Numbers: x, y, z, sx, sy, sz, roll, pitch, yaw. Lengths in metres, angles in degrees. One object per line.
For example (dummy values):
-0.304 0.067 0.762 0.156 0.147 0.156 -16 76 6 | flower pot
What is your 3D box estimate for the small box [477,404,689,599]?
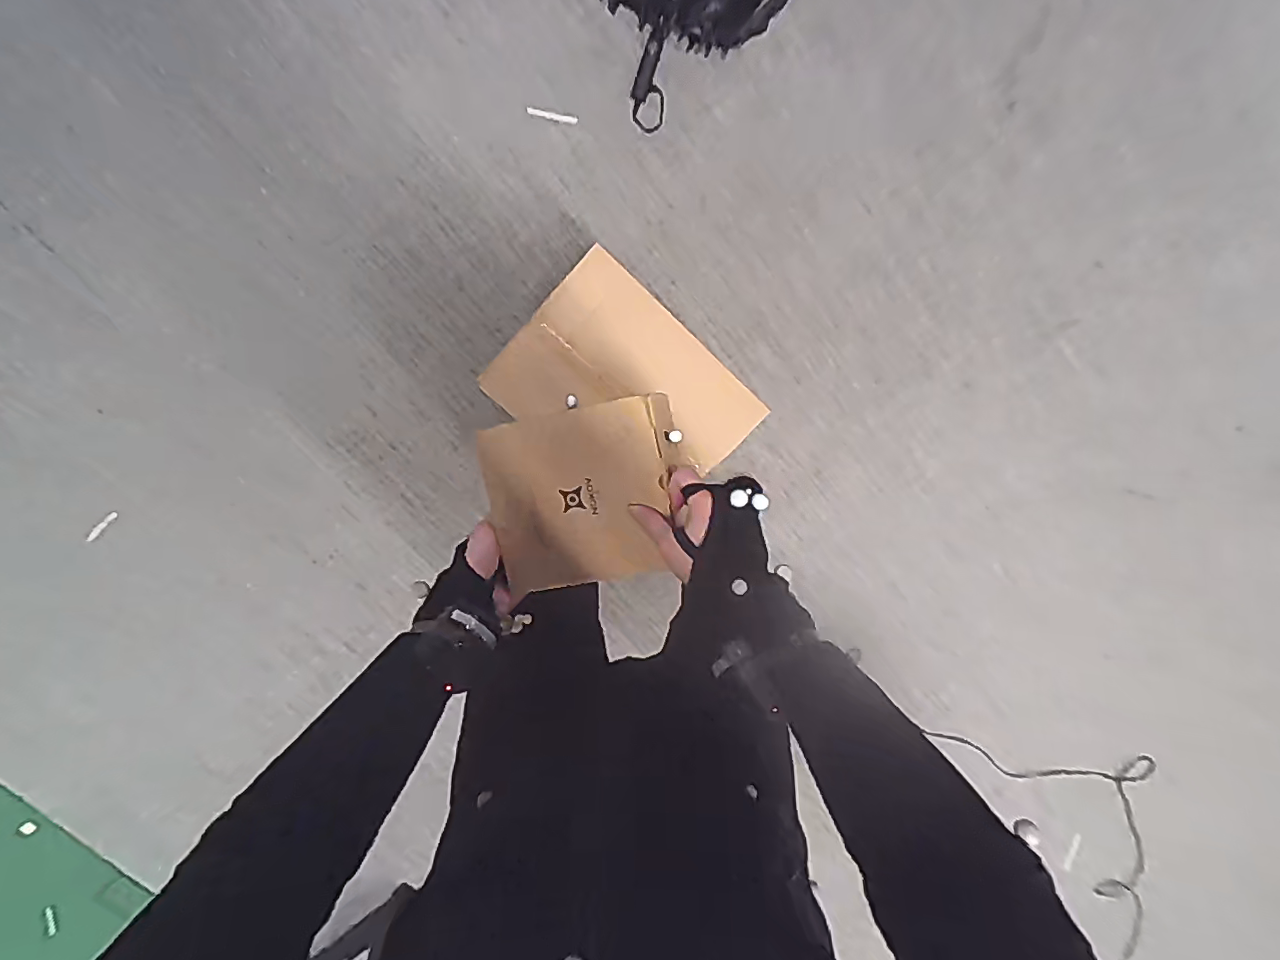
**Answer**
-0.045 0.013 0.590 0.179 0.176 0.168 -11 95 11 | small box
